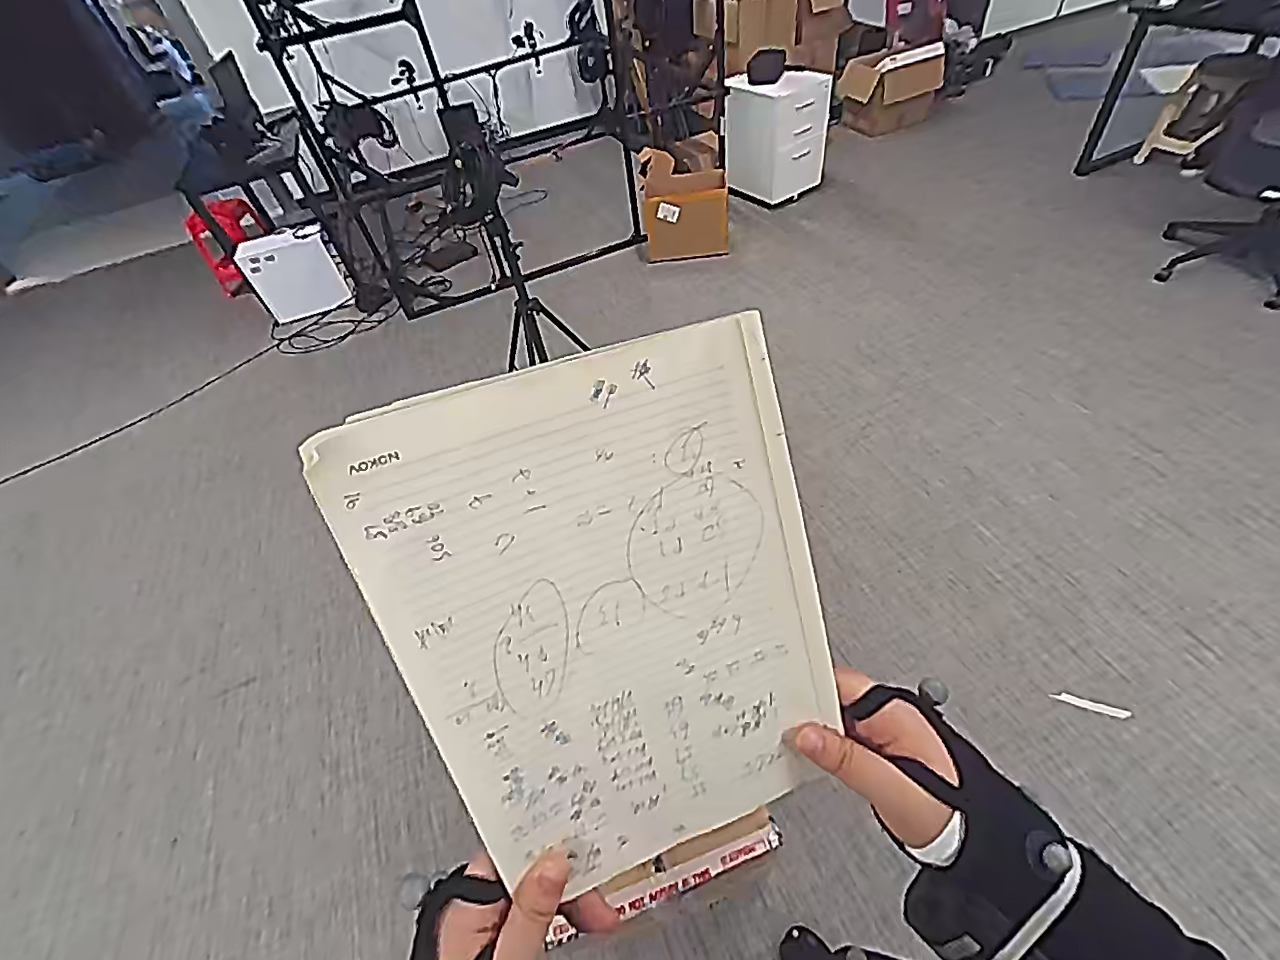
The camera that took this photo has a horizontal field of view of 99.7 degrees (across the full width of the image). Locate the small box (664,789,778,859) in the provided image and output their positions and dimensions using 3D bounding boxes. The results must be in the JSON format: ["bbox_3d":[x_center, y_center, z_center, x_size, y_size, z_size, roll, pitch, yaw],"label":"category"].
[{"bbox_3d":[0.092,0.460,0.845,0.179,0.176,0.168,-19,50,-9],"label":"small box"}]

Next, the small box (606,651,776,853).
[{"bbox_3d":[0.060,0.360,0.716,0.168,0.176,0.179,-15,50,-7],"label":"small box"}]
